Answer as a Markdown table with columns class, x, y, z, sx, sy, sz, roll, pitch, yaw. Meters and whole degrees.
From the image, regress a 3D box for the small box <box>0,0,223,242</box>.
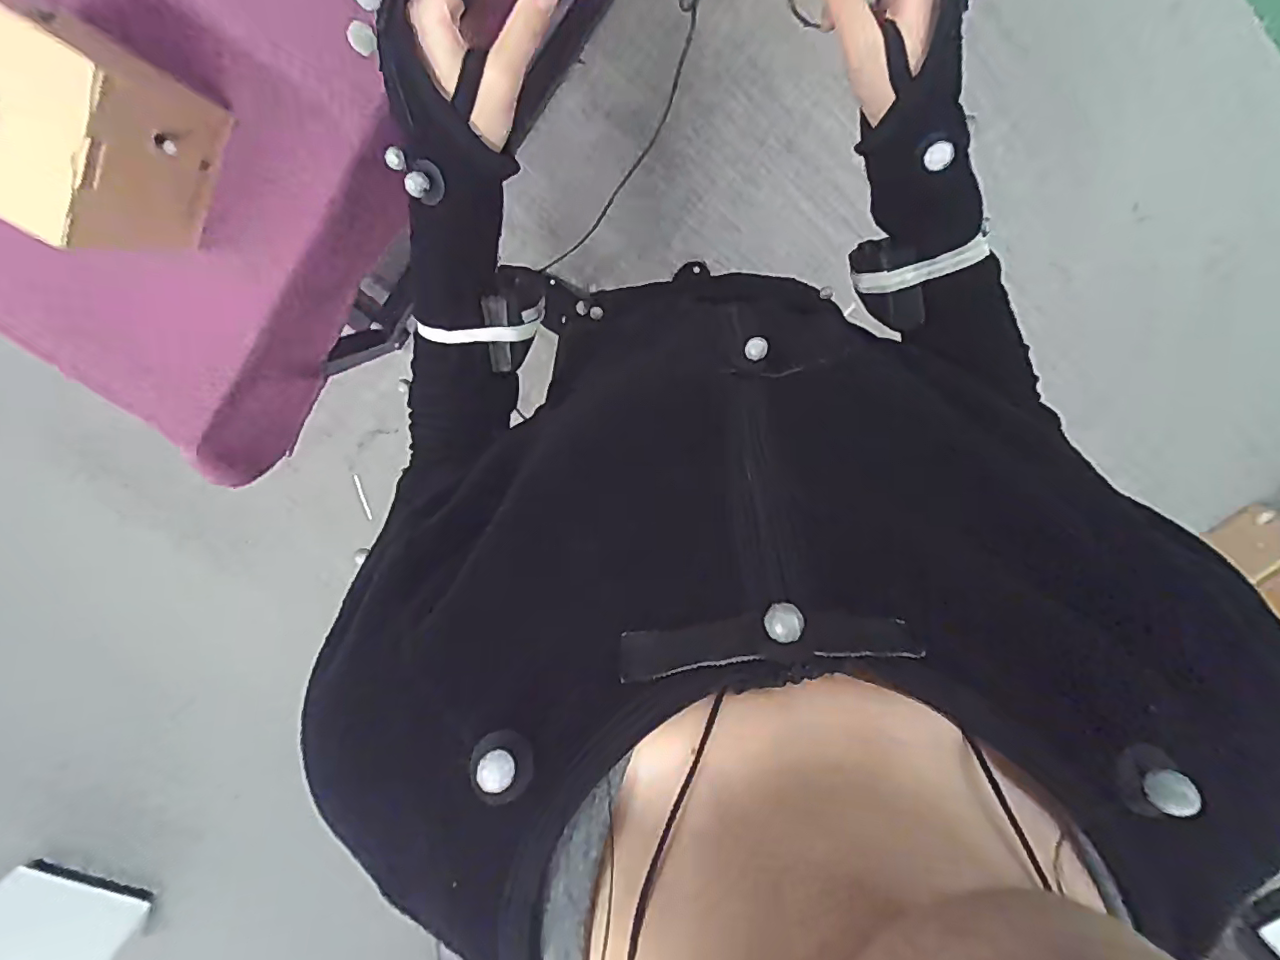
| class | x | y | z | sx | sy | sz | roll | pitch | yaw |
| --- | --- | --- | --- | --- | --- | --- | --- | --- | --- |
| small box | -0.566 | -0.356 | 0.529 | 0.179 | 0.176 | 0.168 | 31 | 108 | -11 |
